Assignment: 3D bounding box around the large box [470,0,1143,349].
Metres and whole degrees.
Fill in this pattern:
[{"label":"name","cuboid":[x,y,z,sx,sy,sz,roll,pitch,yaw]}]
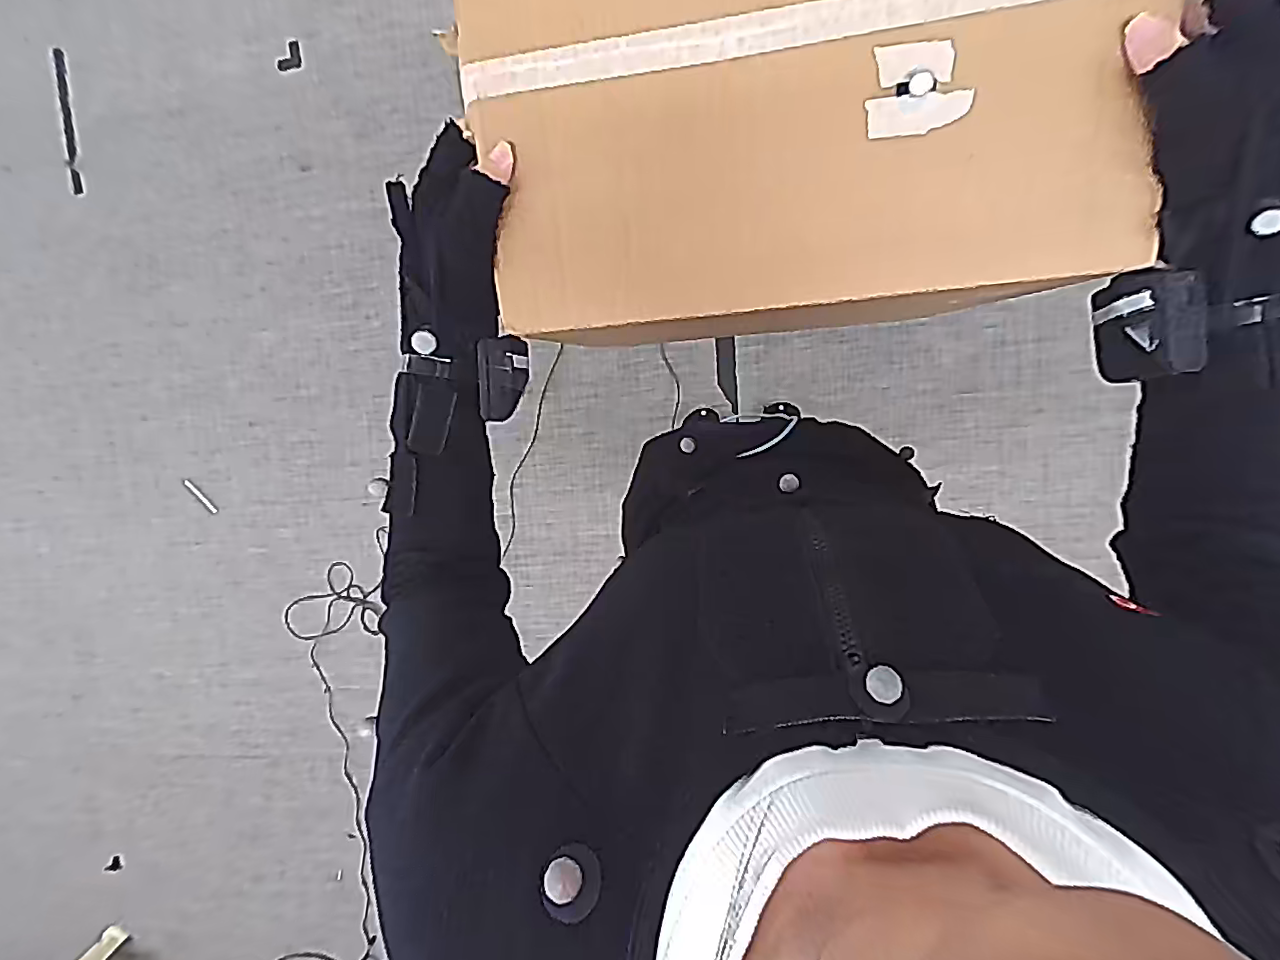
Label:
[{"label":"large box","cuboid":[0.105,-0.301,0.479,0.408,0.320,0.320,-4,102,7]}]
